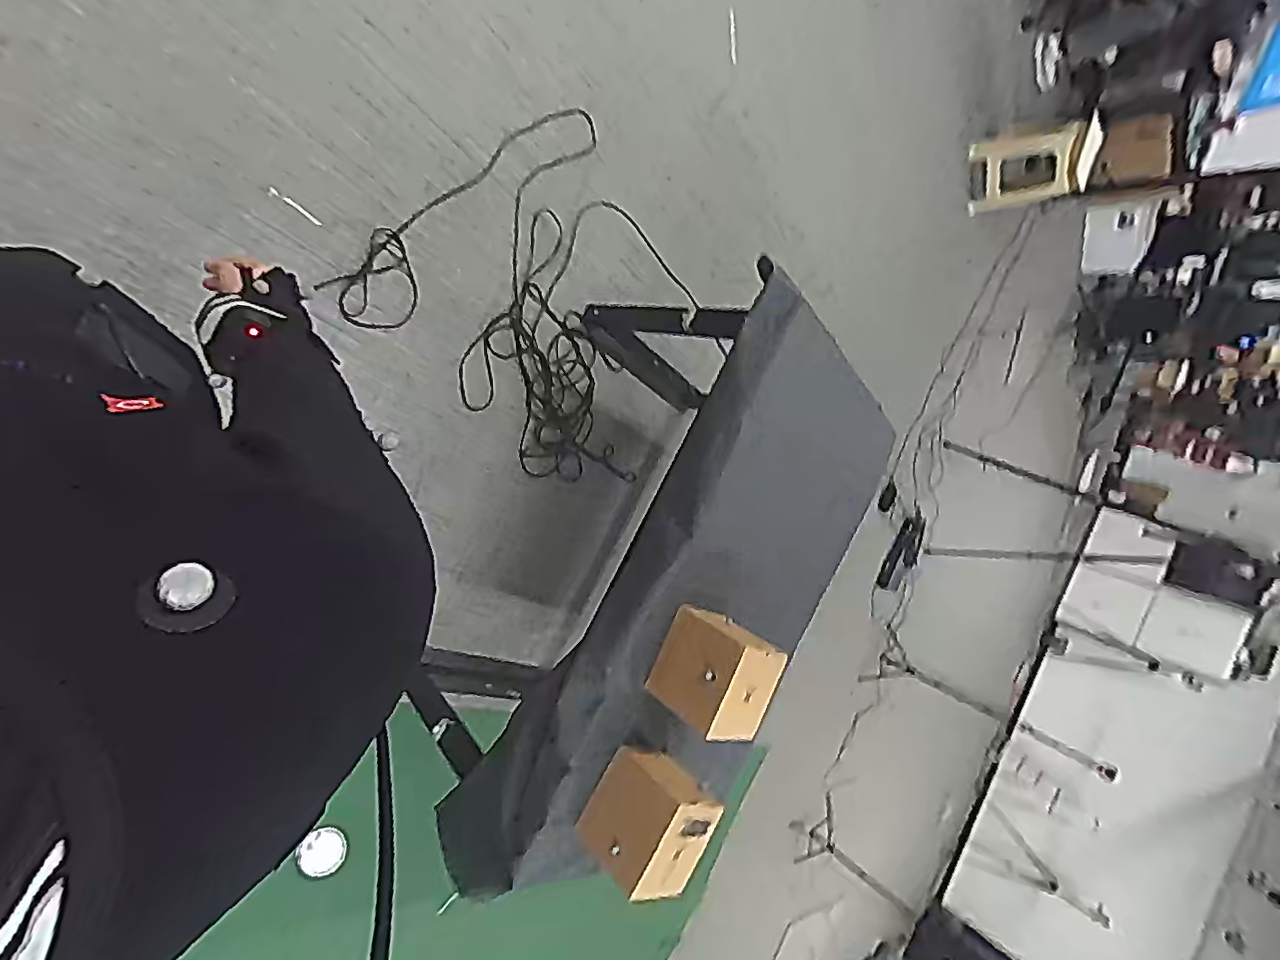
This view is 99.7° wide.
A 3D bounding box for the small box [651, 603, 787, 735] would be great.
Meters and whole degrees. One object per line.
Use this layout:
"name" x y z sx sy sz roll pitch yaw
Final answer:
"small box" 0.146 0.363 1.043 0.168 0.176 0.179 28 85 -44
